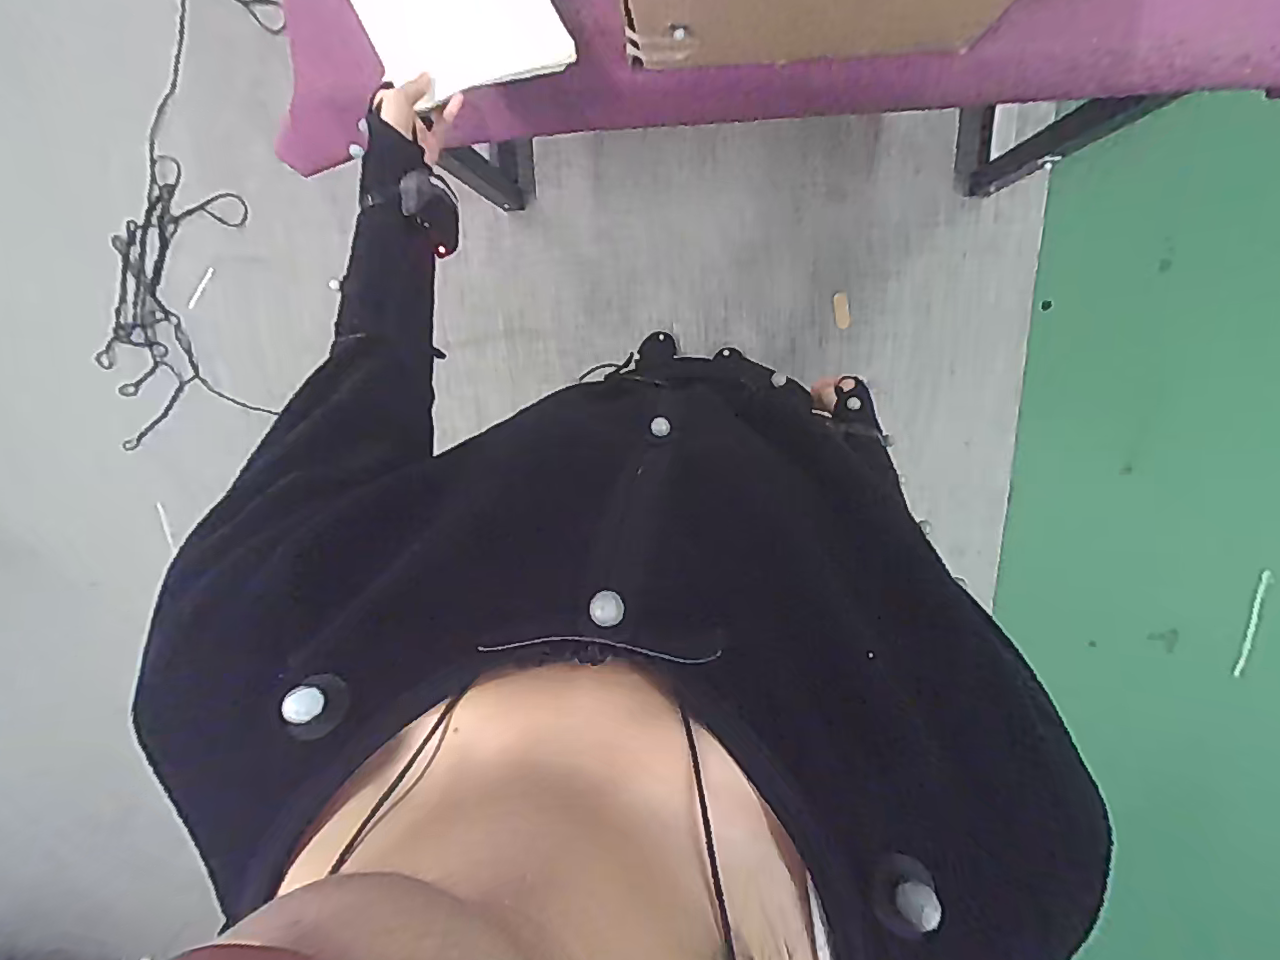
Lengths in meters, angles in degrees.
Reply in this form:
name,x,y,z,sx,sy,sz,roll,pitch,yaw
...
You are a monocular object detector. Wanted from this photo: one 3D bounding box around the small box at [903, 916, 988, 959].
name,x,y,z,sx,sy,sz,roll,pitch,yaw
small box,0.772,1.232,1.349,0.168,0.176,0.179,-9,102,8
